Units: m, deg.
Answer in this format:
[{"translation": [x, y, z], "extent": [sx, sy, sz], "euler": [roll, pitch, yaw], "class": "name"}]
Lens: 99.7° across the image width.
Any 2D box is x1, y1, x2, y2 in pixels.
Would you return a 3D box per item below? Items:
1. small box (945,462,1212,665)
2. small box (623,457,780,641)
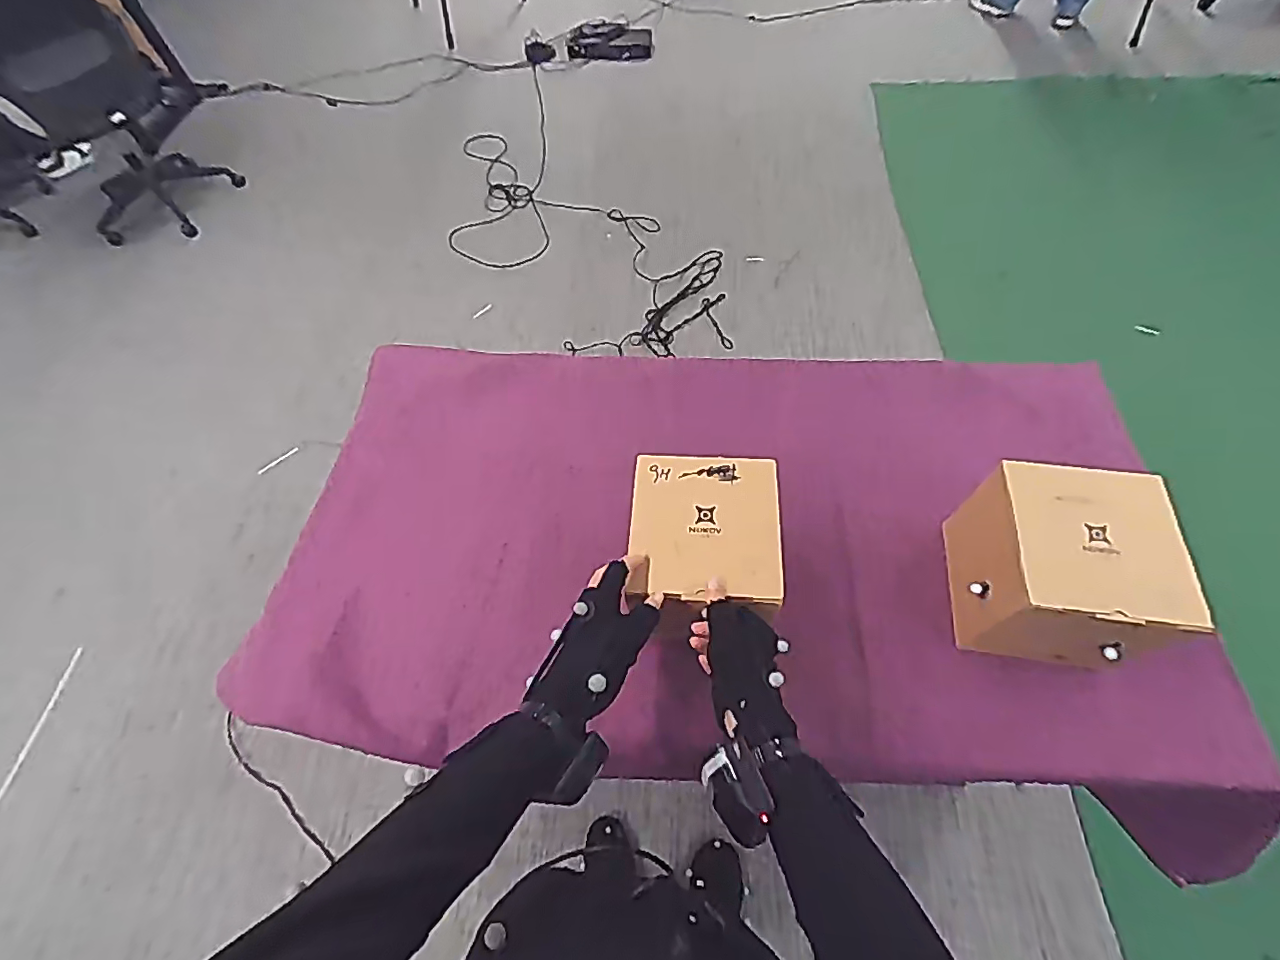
[{"translation": [0.480, 0.103, 0.629], "extent": [0.168, 0.176, 0.179], "euler": [7, 59, 8], "class": "small box"}, {"translation": [0.076, 0.091, 0.666], "extent": [0.168, 0.176, 0.179], "euler": [2, 60, 5], "class": "small box"}]
